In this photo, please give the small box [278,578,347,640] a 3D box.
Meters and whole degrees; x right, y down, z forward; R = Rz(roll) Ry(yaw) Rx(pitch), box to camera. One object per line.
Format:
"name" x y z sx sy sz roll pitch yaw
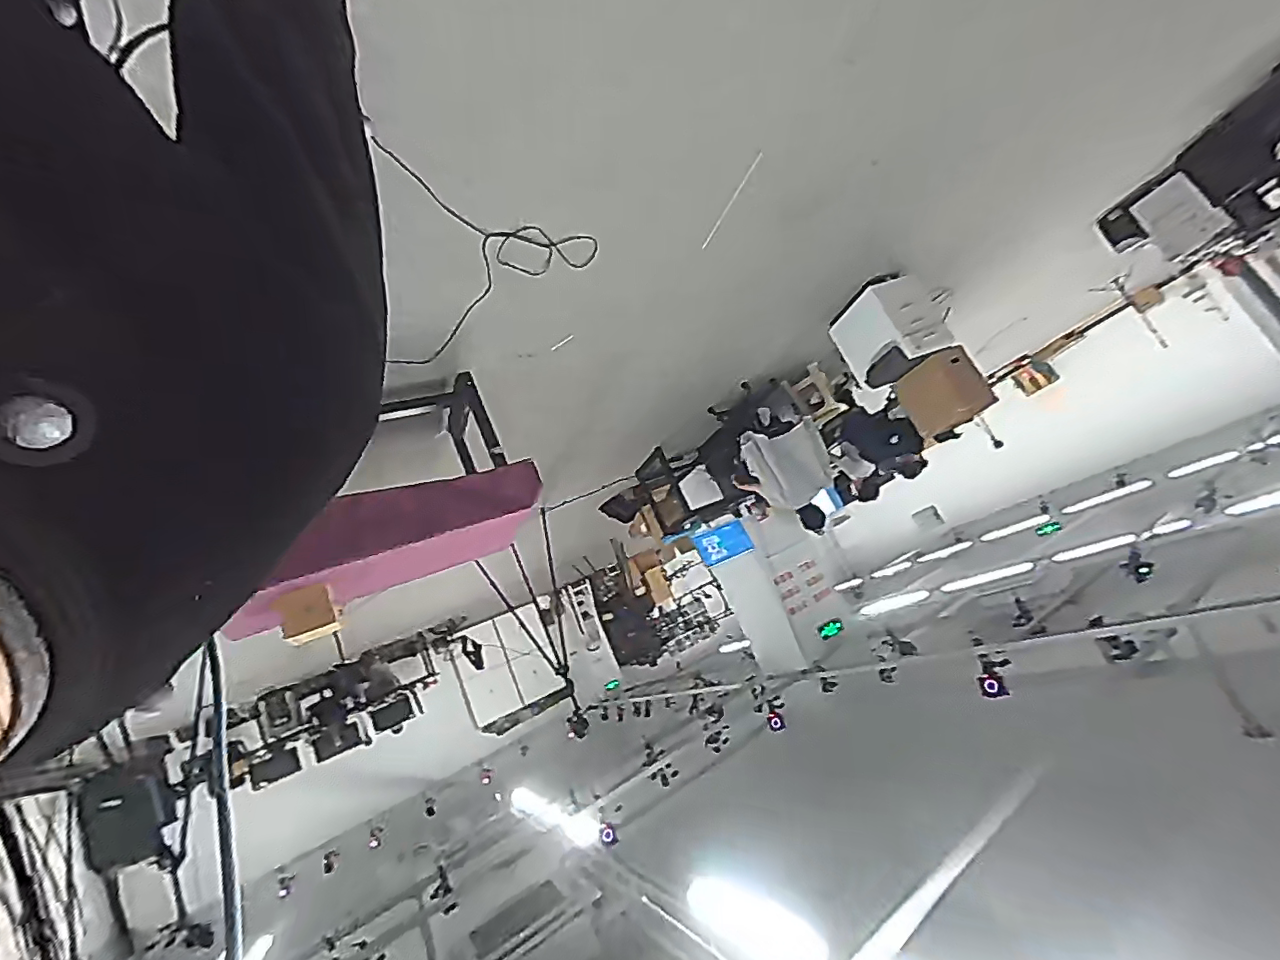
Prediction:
"small box" -1.246 0.490 2.064 0.179 0.176 0.168 -19 165 -28
